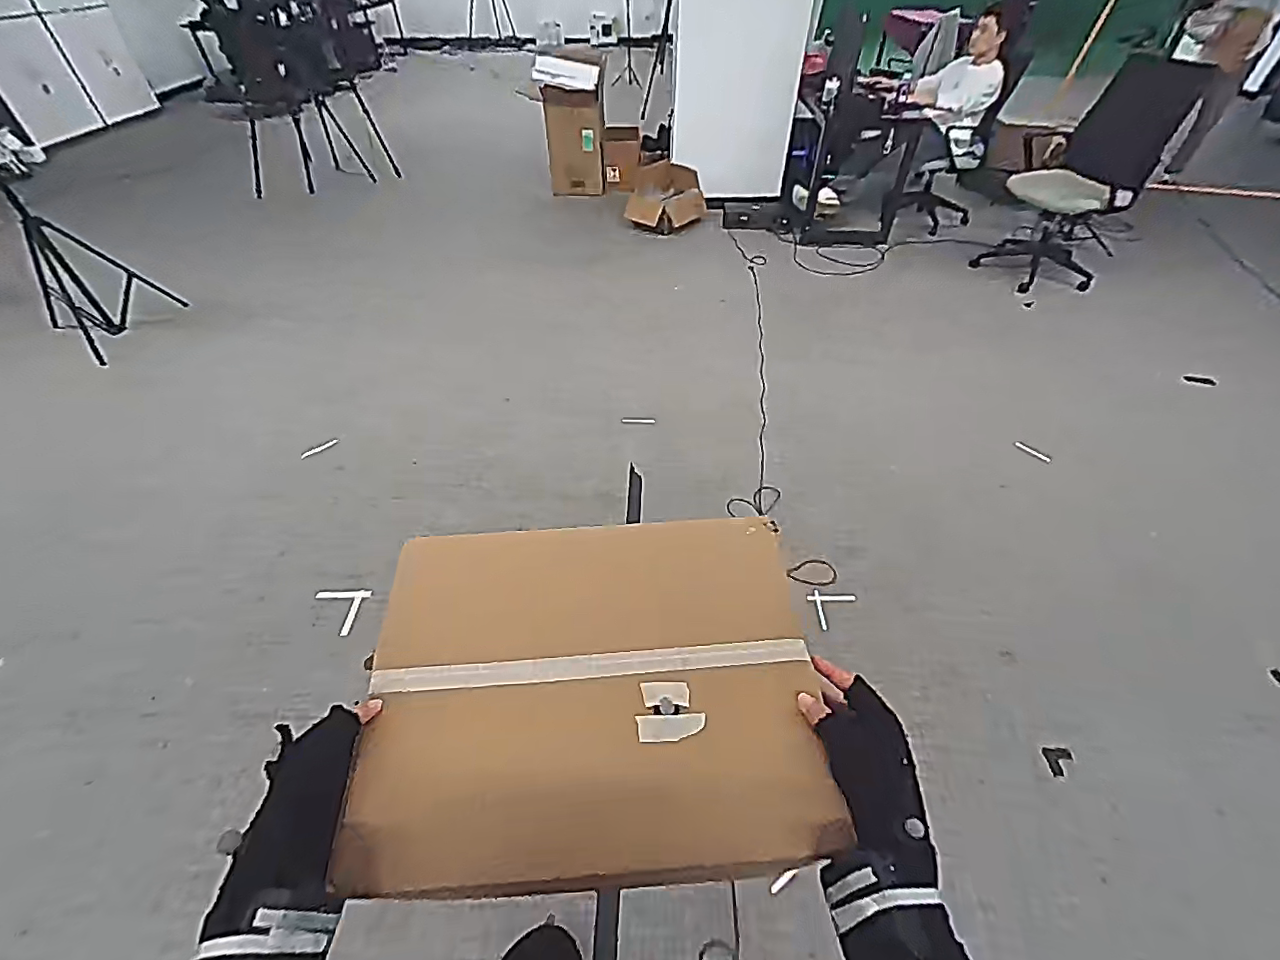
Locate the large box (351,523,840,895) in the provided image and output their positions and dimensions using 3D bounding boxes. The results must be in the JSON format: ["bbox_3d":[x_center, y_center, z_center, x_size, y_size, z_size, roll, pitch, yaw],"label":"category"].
[{"bbox_3d":[-0.044,0.274,0.640,0.408,0.320,0.320,-3,52,-2],"label":"large box"}]
